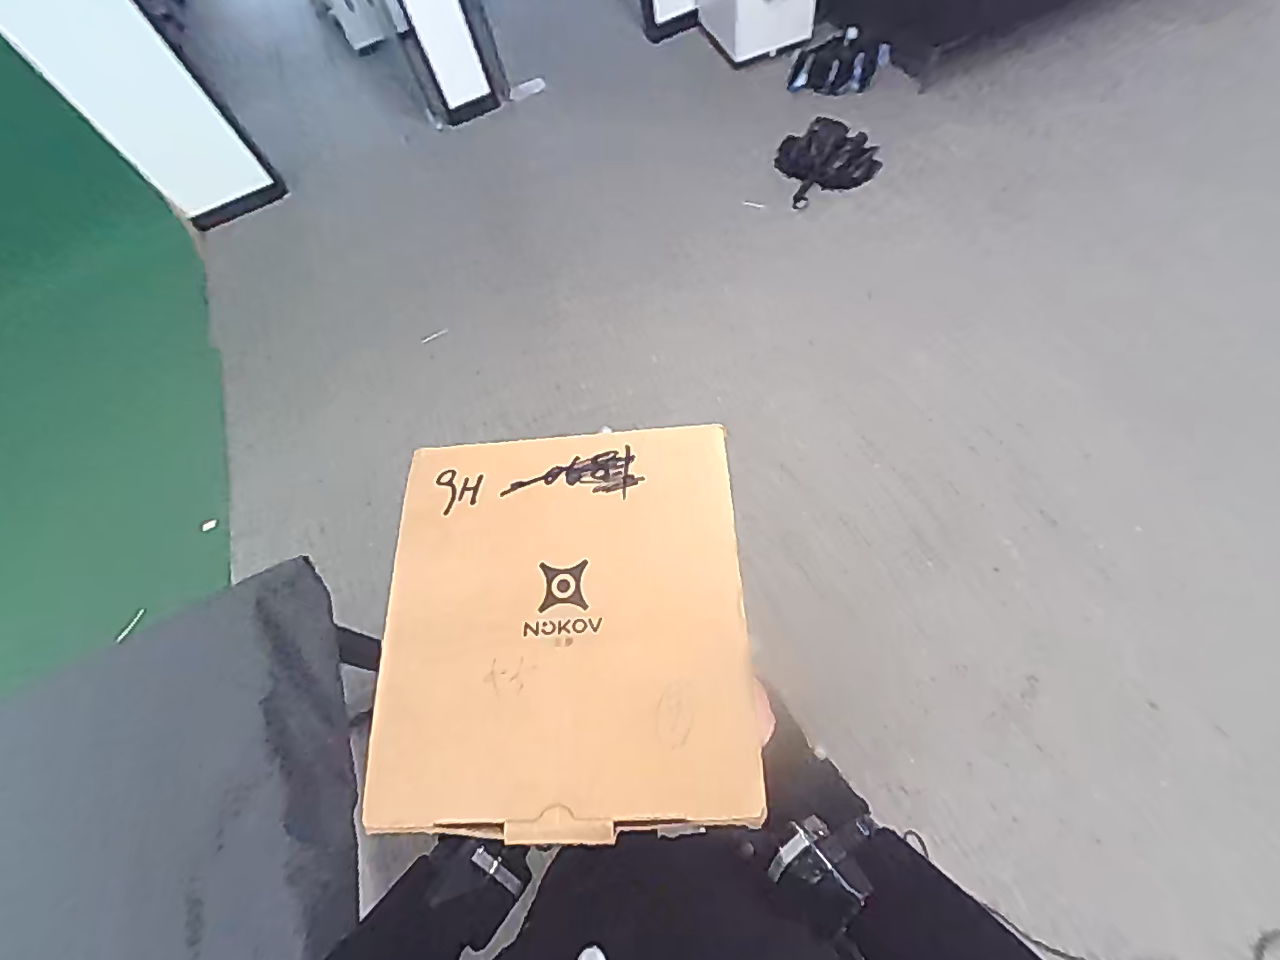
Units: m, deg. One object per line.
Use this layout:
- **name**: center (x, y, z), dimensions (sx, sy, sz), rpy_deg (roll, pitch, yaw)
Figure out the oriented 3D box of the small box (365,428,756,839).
- **small box**: center (-0.027, 0.088, 0.319), dimensions (0.168, 0.176, 0.179), rpy_deg (-4, 68, 5)
